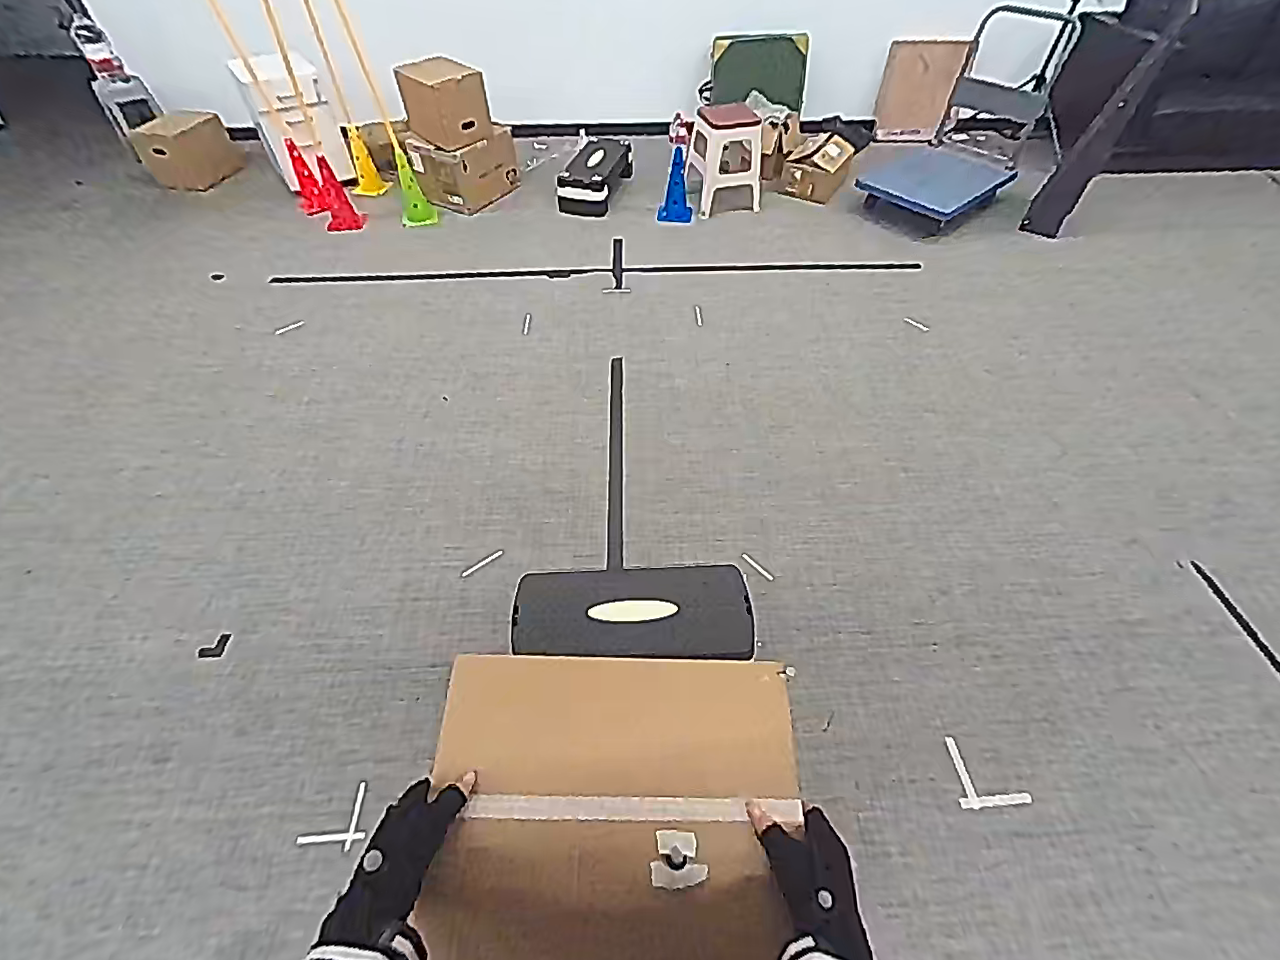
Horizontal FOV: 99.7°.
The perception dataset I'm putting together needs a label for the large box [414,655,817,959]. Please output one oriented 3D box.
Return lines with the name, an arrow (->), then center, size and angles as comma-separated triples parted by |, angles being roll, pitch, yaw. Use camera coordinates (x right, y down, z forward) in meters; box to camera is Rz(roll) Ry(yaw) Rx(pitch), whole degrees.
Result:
large box -> -0.027, 0.431, 0.726 | 0.408, 0.320, 0.320 | 2, 60, 0
